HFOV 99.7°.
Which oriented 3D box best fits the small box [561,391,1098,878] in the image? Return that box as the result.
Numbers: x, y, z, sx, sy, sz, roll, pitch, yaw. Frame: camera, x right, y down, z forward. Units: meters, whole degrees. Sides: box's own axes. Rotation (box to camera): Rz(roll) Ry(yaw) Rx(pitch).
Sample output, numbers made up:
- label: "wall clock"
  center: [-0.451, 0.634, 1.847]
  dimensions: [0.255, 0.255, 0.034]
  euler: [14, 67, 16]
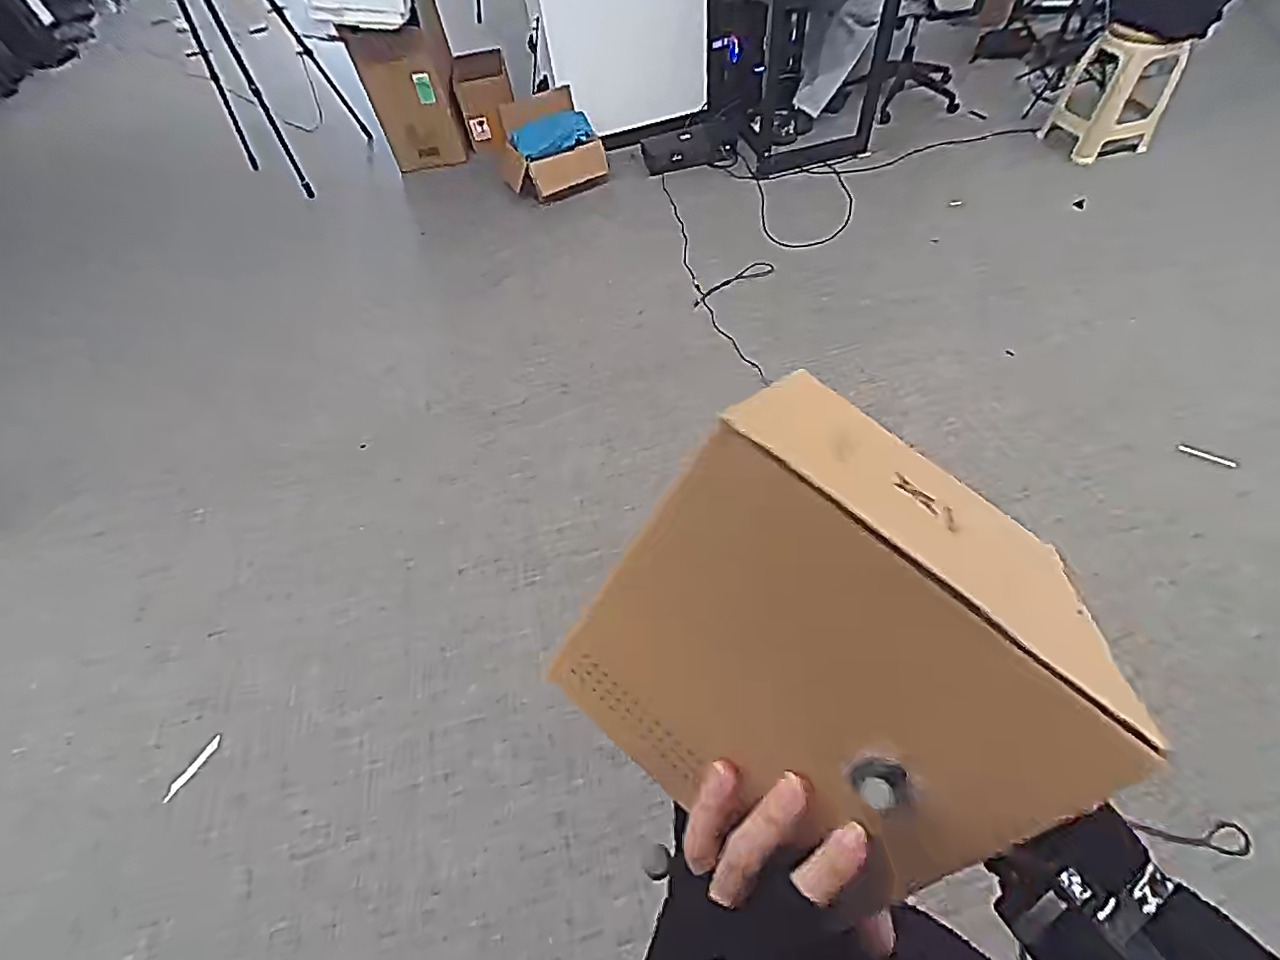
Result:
- label: "small box"
  center: [0.089, 0.076, 0.305]
  dimensions: [0.179, 0.176, 0.168]
  euler: [38, 30, 14]
